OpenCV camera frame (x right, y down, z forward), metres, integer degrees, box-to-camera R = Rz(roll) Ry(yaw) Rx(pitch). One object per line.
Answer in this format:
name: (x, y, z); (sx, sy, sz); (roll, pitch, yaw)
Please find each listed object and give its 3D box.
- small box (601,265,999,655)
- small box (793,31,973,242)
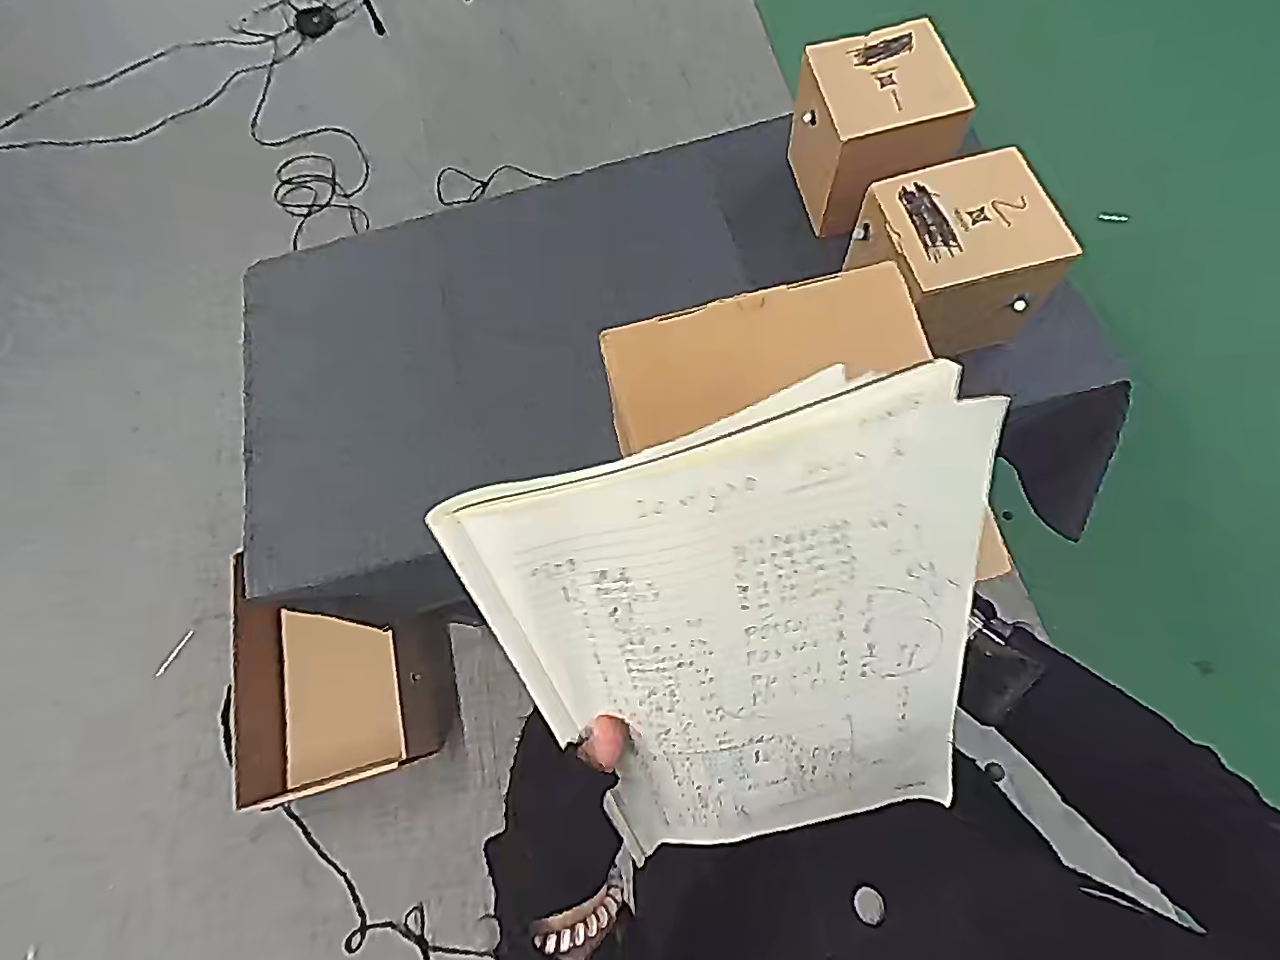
small box: (0.080, -0.001, 0.356); (0.168, 0.176, 0.179); (-14, 78, -2)
small box: (0.327, -0.479, 0.771); (0.168, 0.176, 0.179); (-12, 70, 4)
